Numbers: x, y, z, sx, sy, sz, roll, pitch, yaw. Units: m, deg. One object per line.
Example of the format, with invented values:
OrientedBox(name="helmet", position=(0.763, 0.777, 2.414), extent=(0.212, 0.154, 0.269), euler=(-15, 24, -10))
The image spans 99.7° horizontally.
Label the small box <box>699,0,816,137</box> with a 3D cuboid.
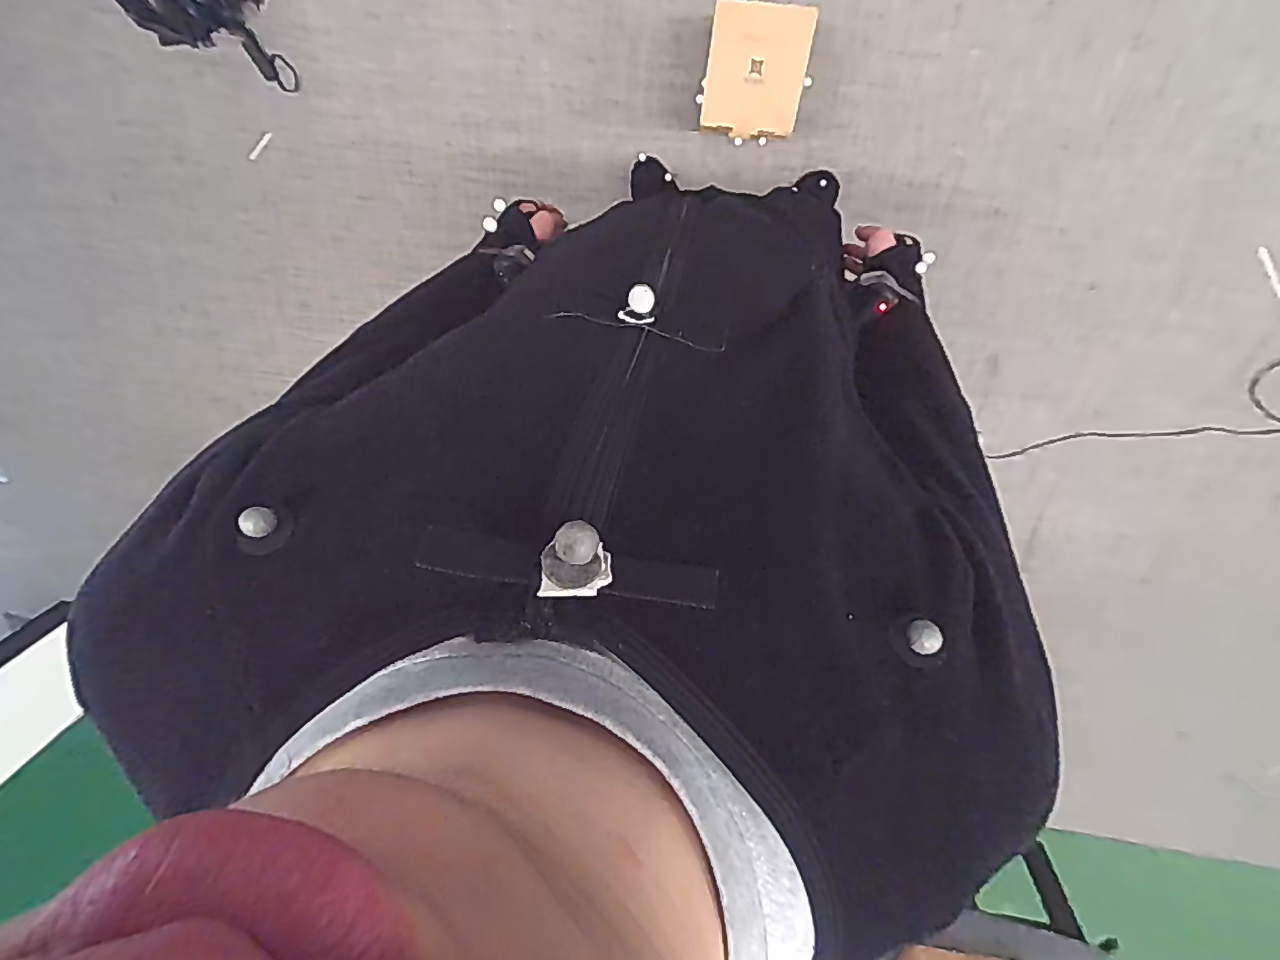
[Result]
OrientedBox(name="small box", position=(0.204, -0.730, 0.976), extent=(0.168, 0.176, 0.179), euler=(8, 121, 3))
